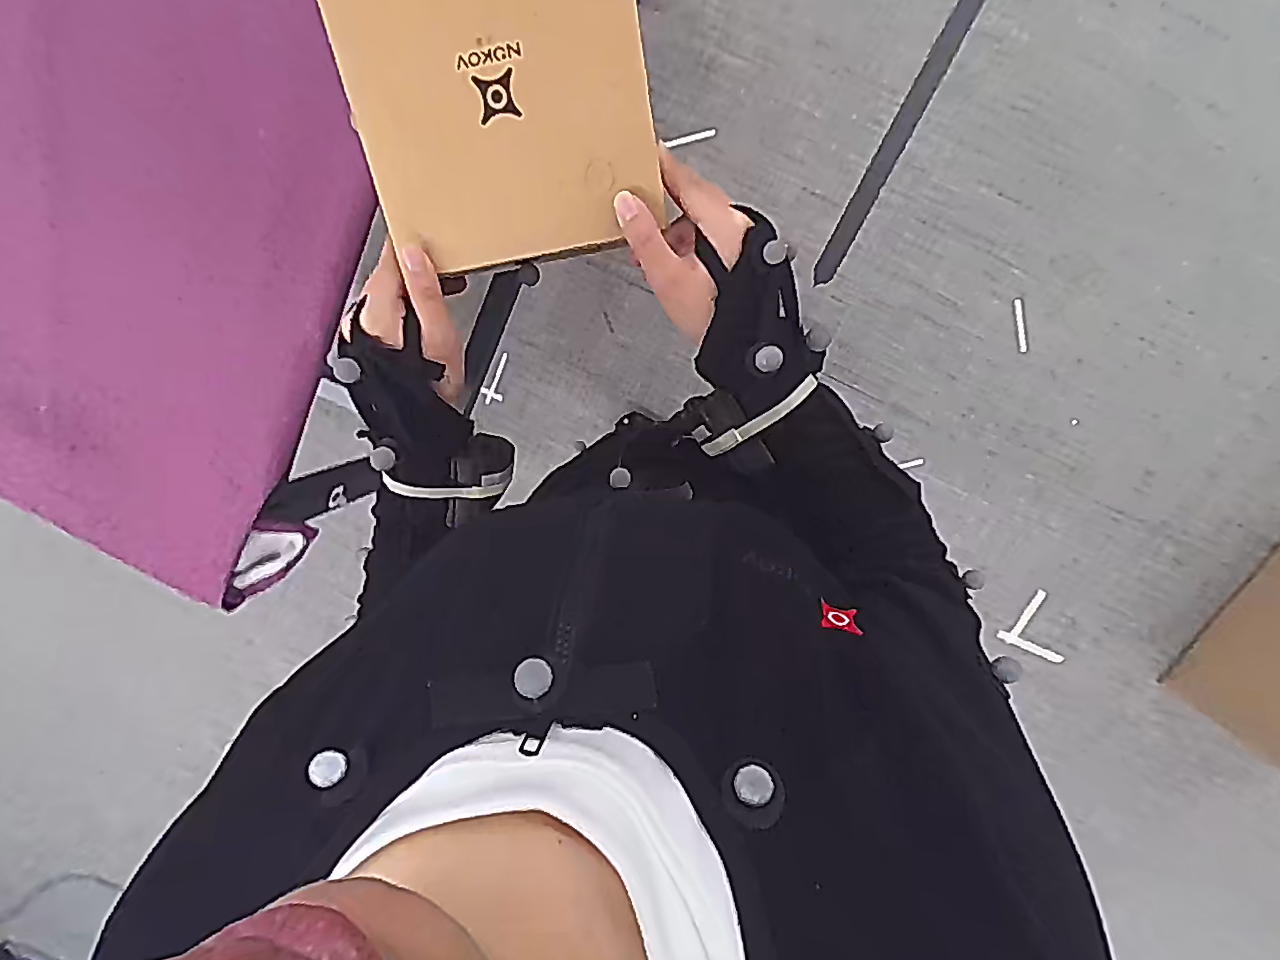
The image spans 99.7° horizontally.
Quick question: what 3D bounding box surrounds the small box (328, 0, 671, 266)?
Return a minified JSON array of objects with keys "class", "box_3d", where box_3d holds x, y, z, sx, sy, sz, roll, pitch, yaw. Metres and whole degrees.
[{"class":"small box","box_3d":[-0.070,-0.250,0.363,0.168,0.176,0.179,-8,110,6]}]
